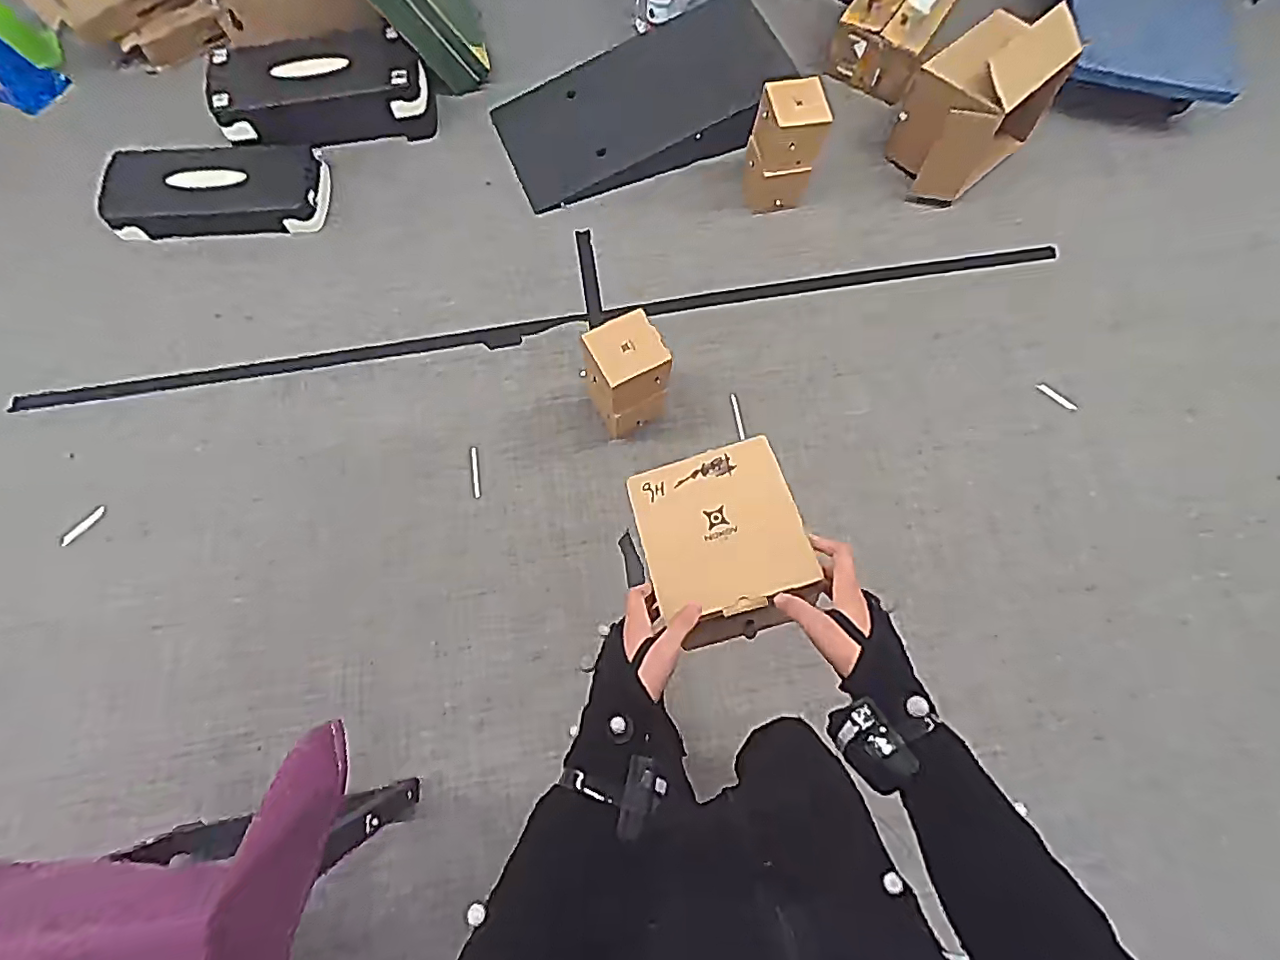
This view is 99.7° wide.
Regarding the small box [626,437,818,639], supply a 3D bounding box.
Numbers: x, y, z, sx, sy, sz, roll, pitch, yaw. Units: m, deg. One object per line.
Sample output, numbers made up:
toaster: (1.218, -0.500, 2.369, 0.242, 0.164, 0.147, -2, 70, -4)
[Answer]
small box: (0.095, 0.081, 0.641, 0.168, 0.176, 0.179, -17, 64, 4)
